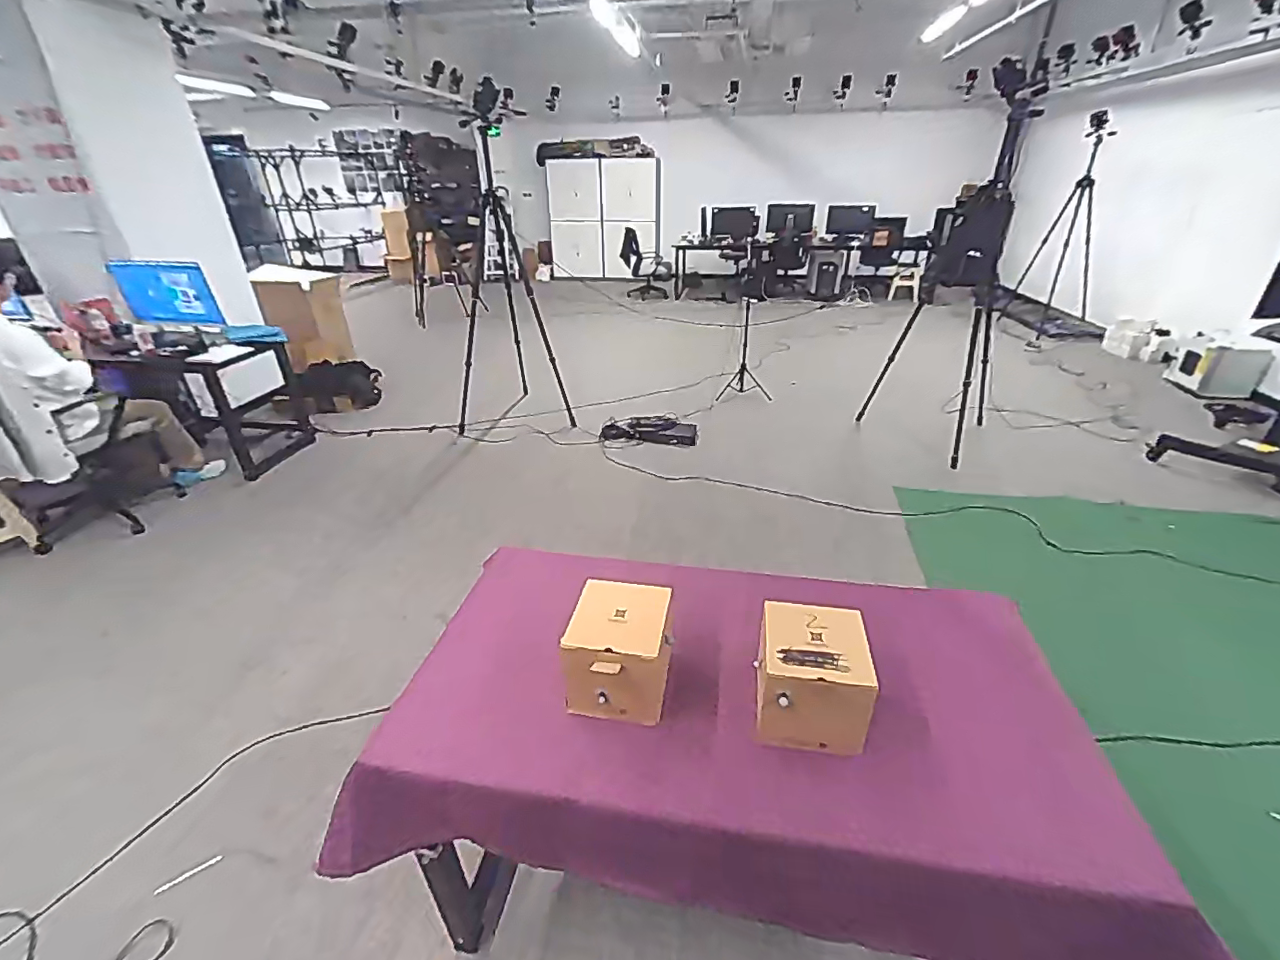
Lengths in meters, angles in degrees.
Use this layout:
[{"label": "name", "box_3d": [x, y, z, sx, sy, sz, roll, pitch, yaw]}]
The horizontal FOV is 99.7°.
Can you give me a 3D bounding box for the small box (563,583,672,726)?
[{"label": "small box", "box_3d": [-0.035, 0.319, 1.006, 0.168, 0.176, 0.179, 4, 30, 10]}]
